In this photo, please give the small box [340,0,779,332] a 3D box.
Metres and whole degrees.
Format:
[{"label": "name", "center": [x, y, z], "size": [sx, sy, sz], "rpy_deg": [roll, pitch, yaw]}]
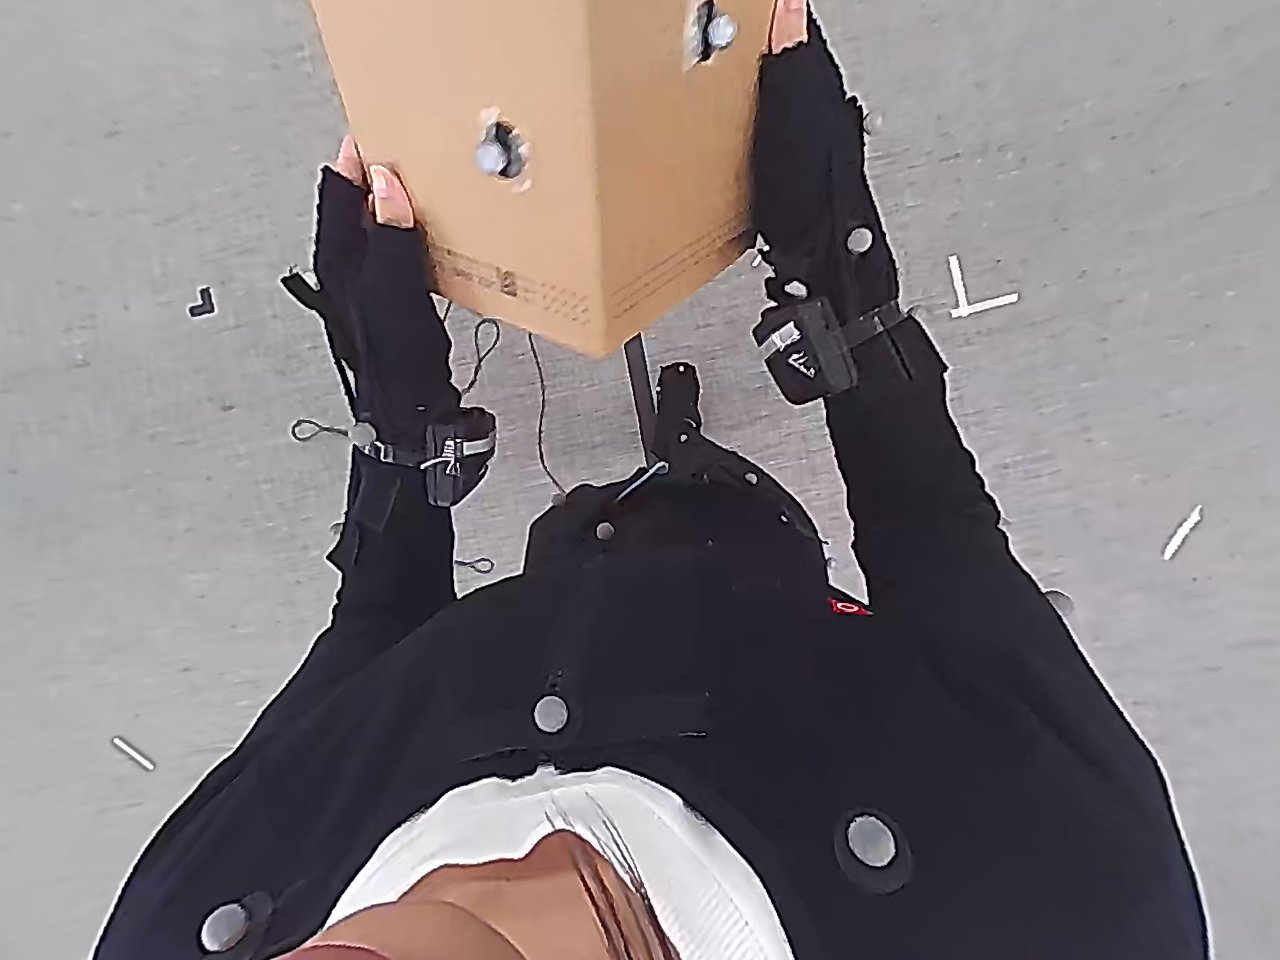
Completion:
[{"label": "small box", "center": [-0.030, -0.210, 0.319], "size": [0.168, 0.176, 0.179], "rpy_deg": [25, 49, 24]}]
